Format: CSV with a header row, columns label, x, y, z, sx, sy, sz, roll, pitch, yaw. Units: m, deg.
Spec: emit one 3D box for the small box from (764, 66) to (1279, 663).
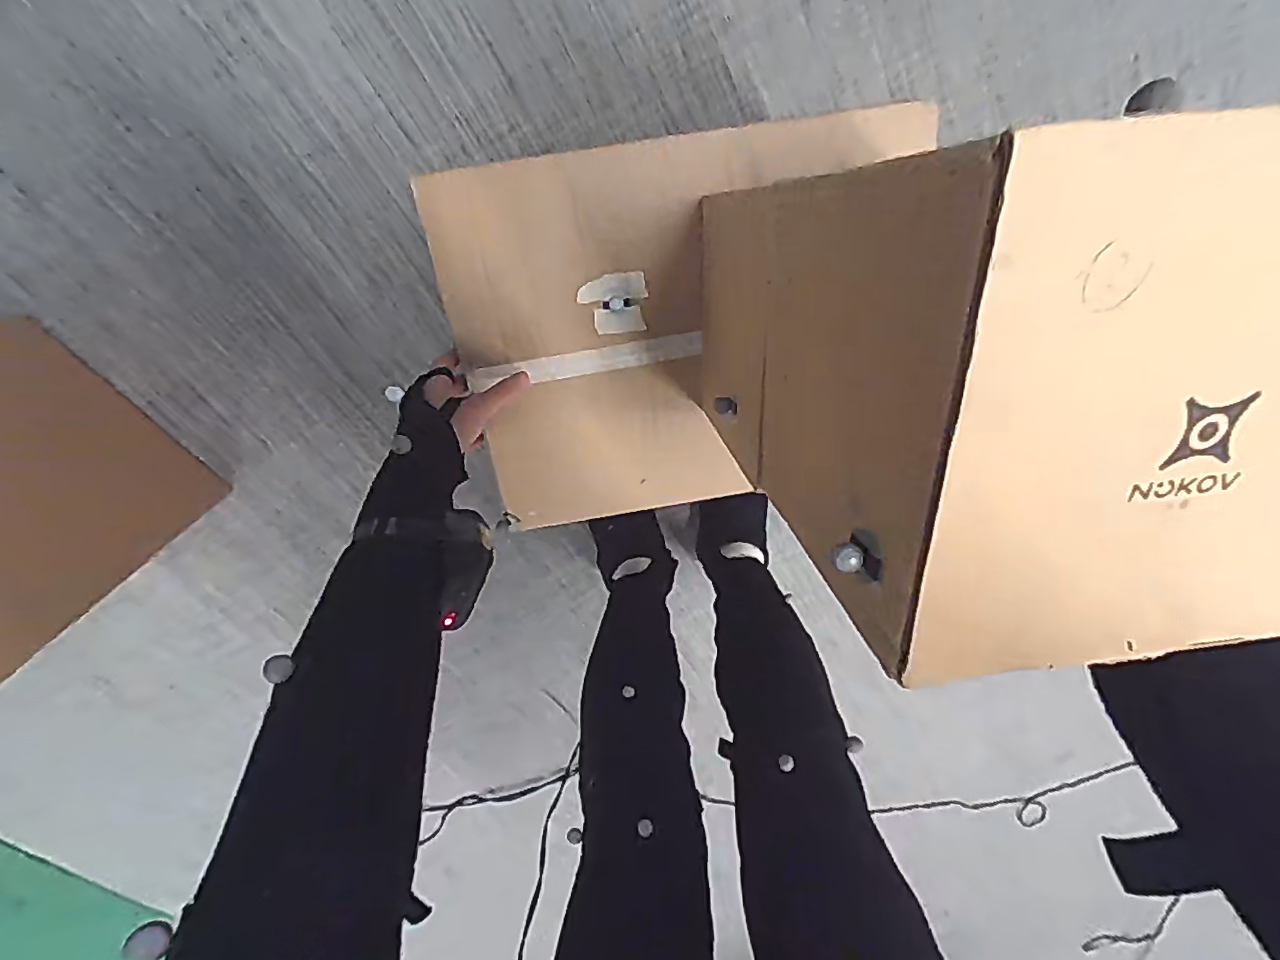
label,x,y,z,sx,sy,sz,roll,pitch,yaw
small box,0.158,-0.054,0.235,0.168,0.176,0.179,-7,117,-3
